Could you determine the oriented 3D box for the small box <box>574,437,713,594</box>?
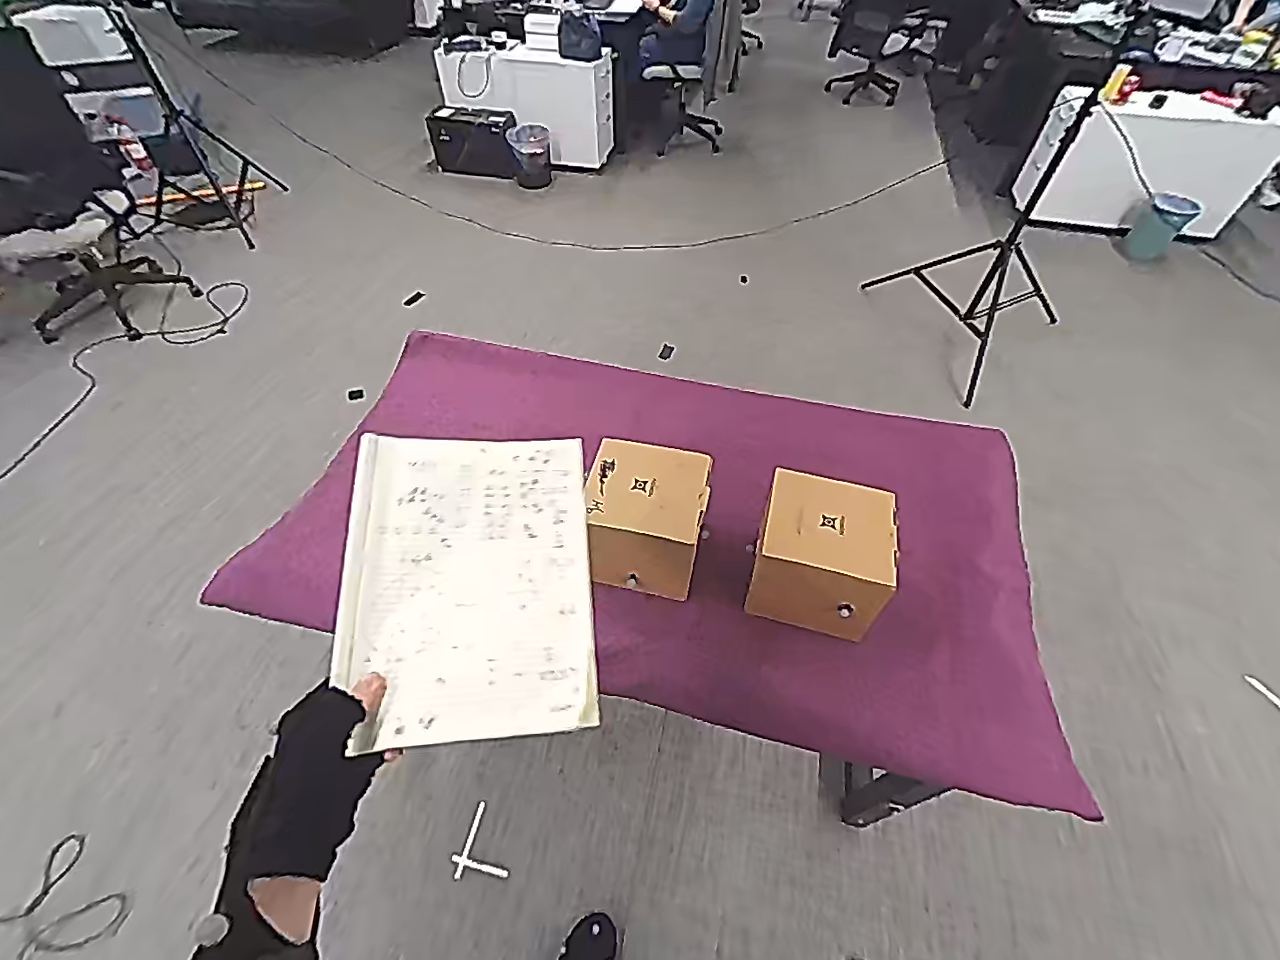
[{"bbox_3d":[0.008,0.060,0.847,0.179,0.176,0.168,11,50,7],"label":"small box"}]

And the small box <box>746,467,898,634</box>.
[{"bbox_3d":[0.267,0.109,0.811,0.179,0.176,0.168,12,49,11],"label":"small box"}]
